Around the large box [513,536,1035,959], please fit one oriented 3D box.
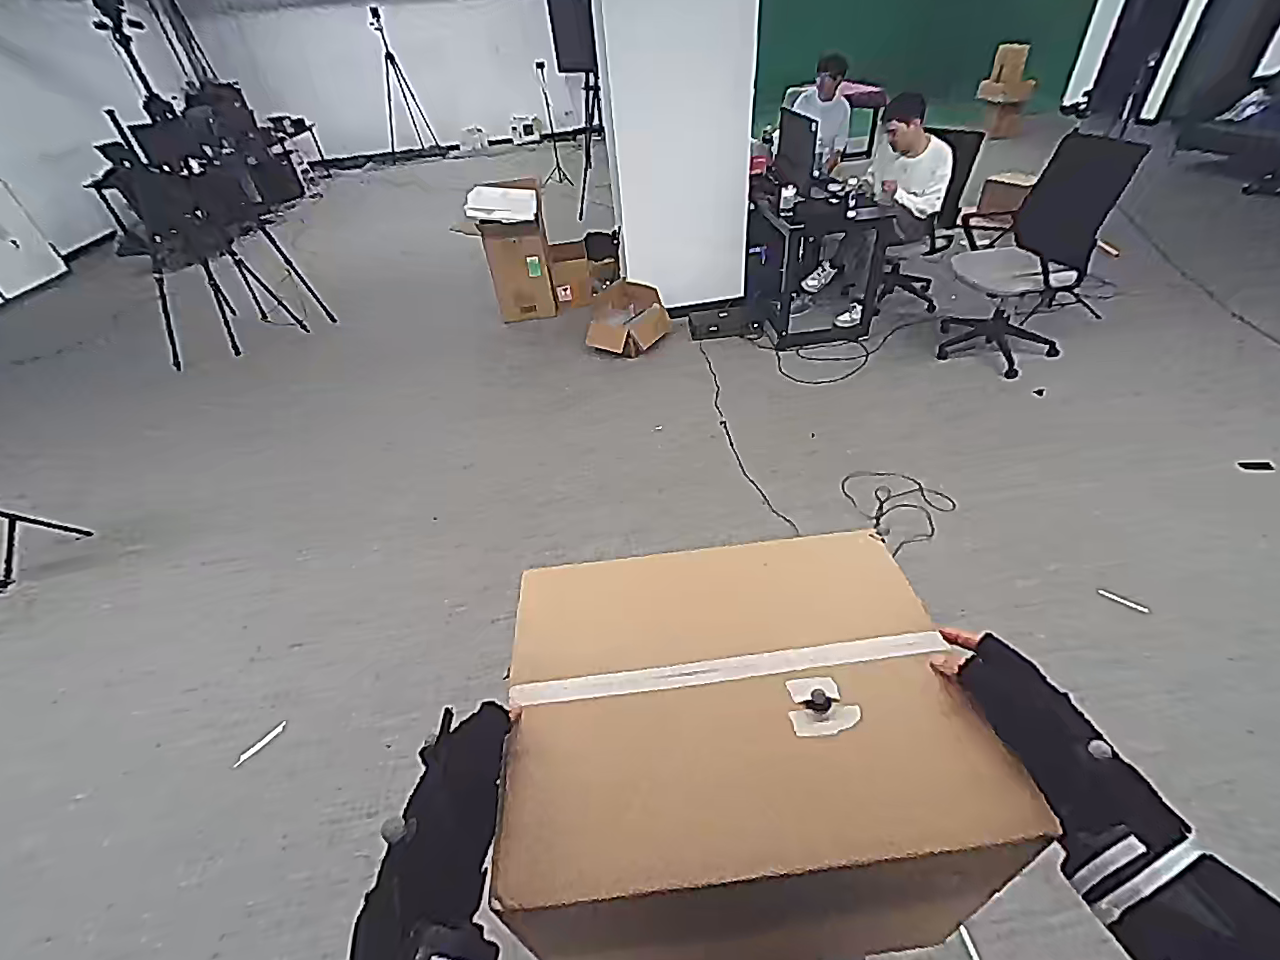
[{"bbox_3d":[0.097,0.298,0.603,0.408,0.320,0.320,-7,39,-2],"label":"large box"}]
